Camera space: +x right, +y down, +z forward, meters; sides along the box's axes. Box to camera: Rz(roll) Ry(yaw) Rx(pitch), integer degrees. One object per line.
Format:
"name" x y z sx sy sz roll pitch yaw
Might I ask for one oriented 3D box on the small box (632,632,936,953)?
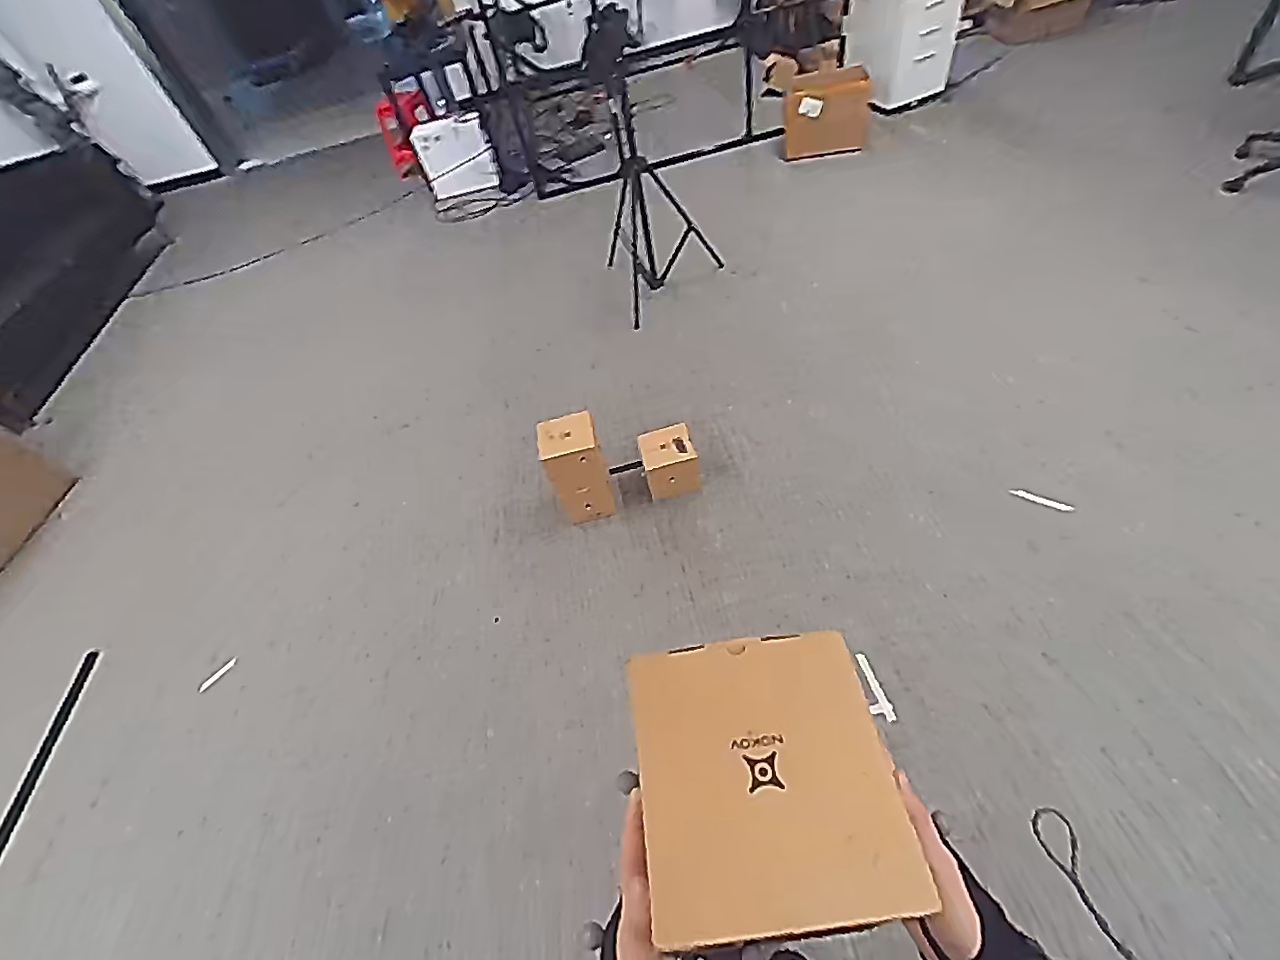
"small box" 0.088 0.243 0.416 0.168 0.176 0.179 -7 46 0

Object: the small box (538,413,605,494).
"small box" -0.215 -0.081 1.722 0.179 0.176 0.168 -14 49 2

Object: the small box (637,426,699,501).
"small box" 0.100 -0.054 1.843 0.179 0.176 0.168 -16 50 2
